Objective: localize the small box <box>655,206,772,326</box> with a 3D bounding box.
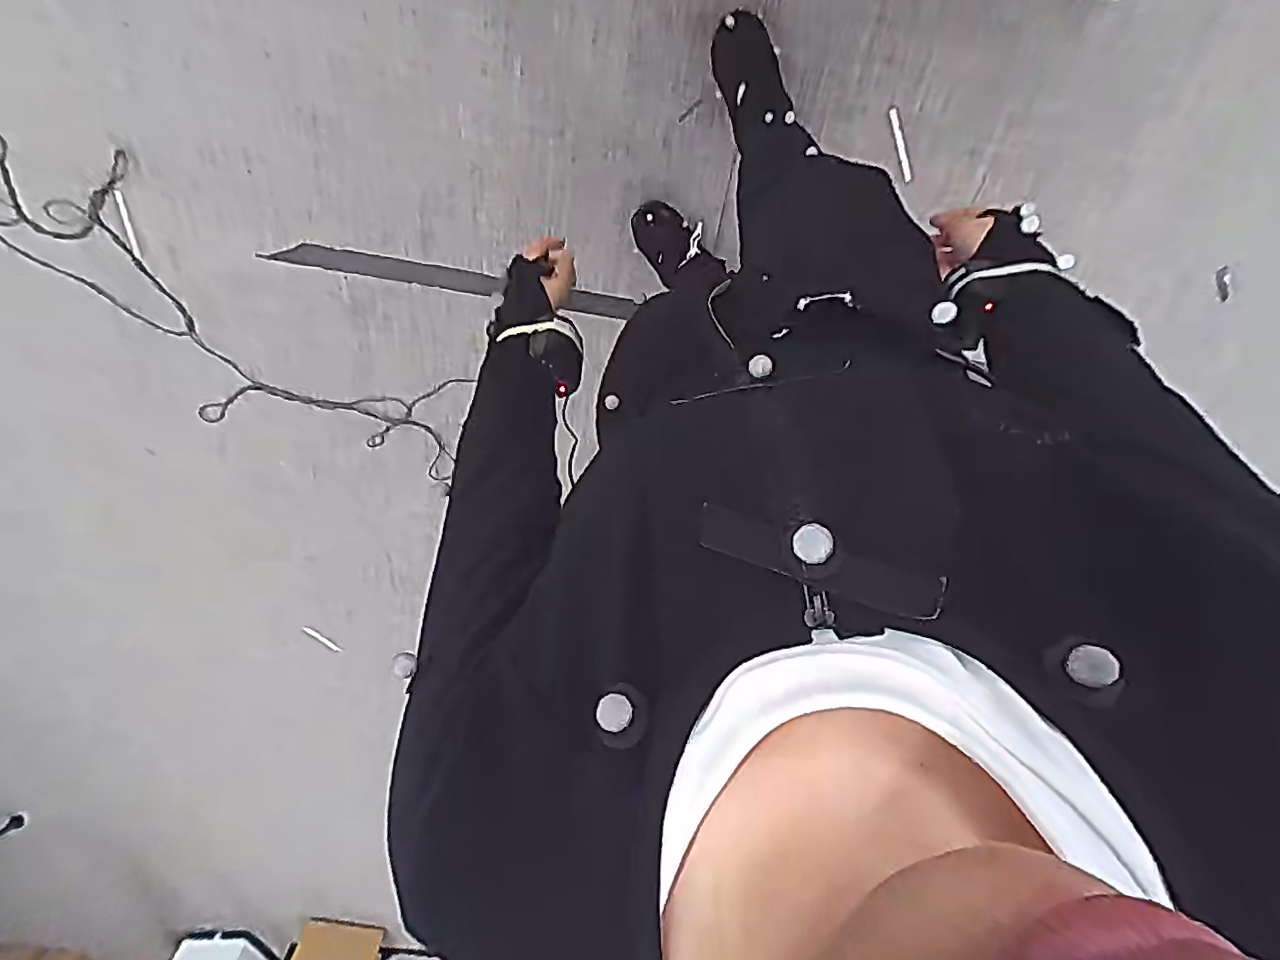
[{"bbox_3d":[0.147,-0.439,1.116,0.179,0.176,0.168,-30,115,16],"label":"small box"}]
